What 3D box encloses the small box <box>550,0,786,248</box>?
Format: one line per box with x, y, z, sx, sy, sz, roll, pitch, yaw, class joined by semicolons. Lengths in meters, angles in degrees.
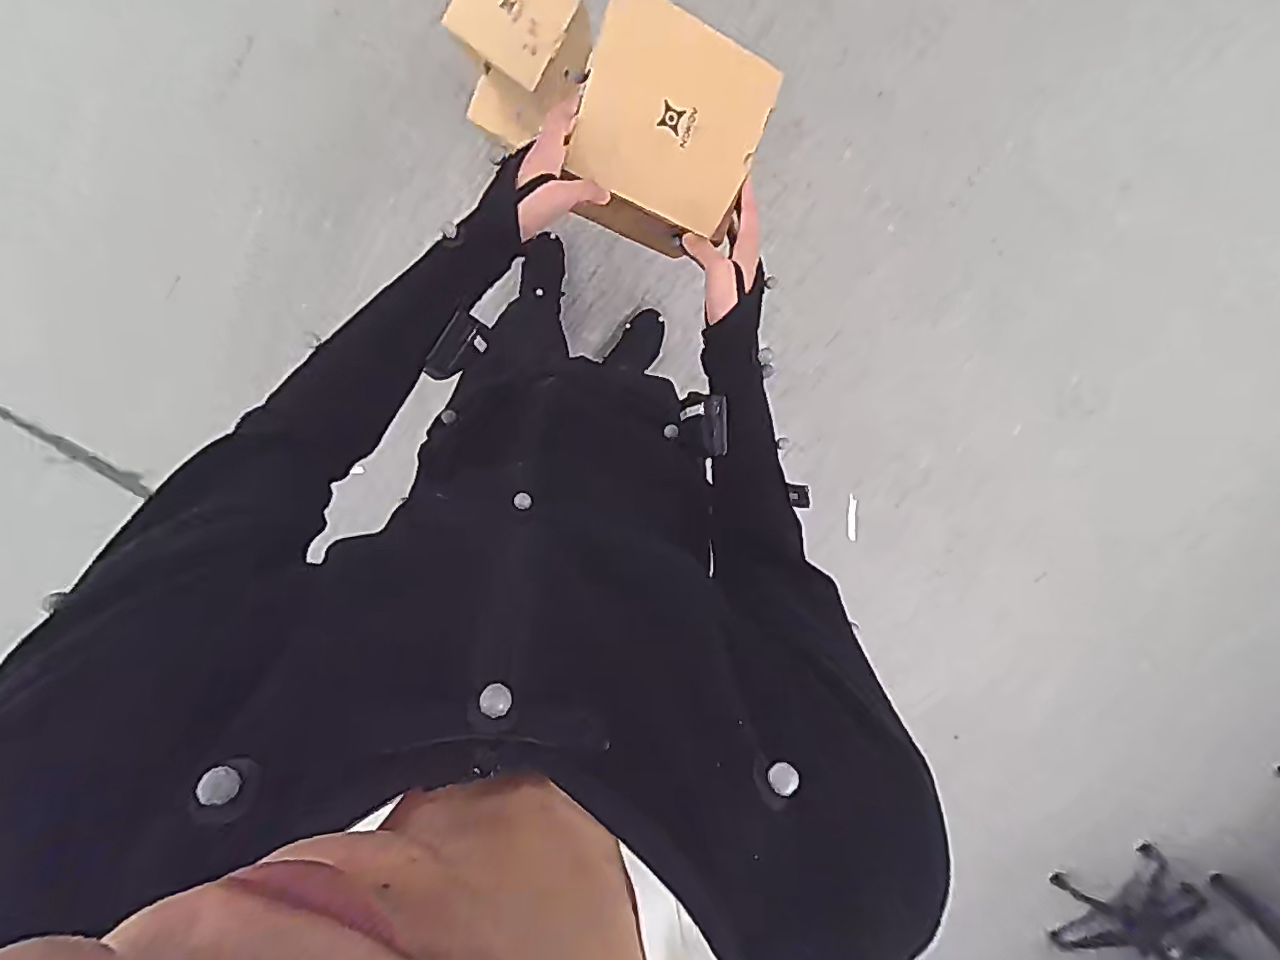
0.013;-0.359;0.569;0.179;0.176;0.168;15;103;-19;small box

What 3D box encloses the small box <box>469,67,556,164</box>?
-0.267;-0.872;1.250;0.168;0.176;0.179;26;108;-9;small box

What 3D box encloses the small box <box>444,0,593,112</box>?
-0.198;-0.784;0.934;0.179;0.176;0.168;33;106;-11;small box

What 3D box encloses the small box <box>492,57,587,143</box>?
-0.188;-0.830;1.092;0.168;0.176;0.179;41;105;-13;small box
